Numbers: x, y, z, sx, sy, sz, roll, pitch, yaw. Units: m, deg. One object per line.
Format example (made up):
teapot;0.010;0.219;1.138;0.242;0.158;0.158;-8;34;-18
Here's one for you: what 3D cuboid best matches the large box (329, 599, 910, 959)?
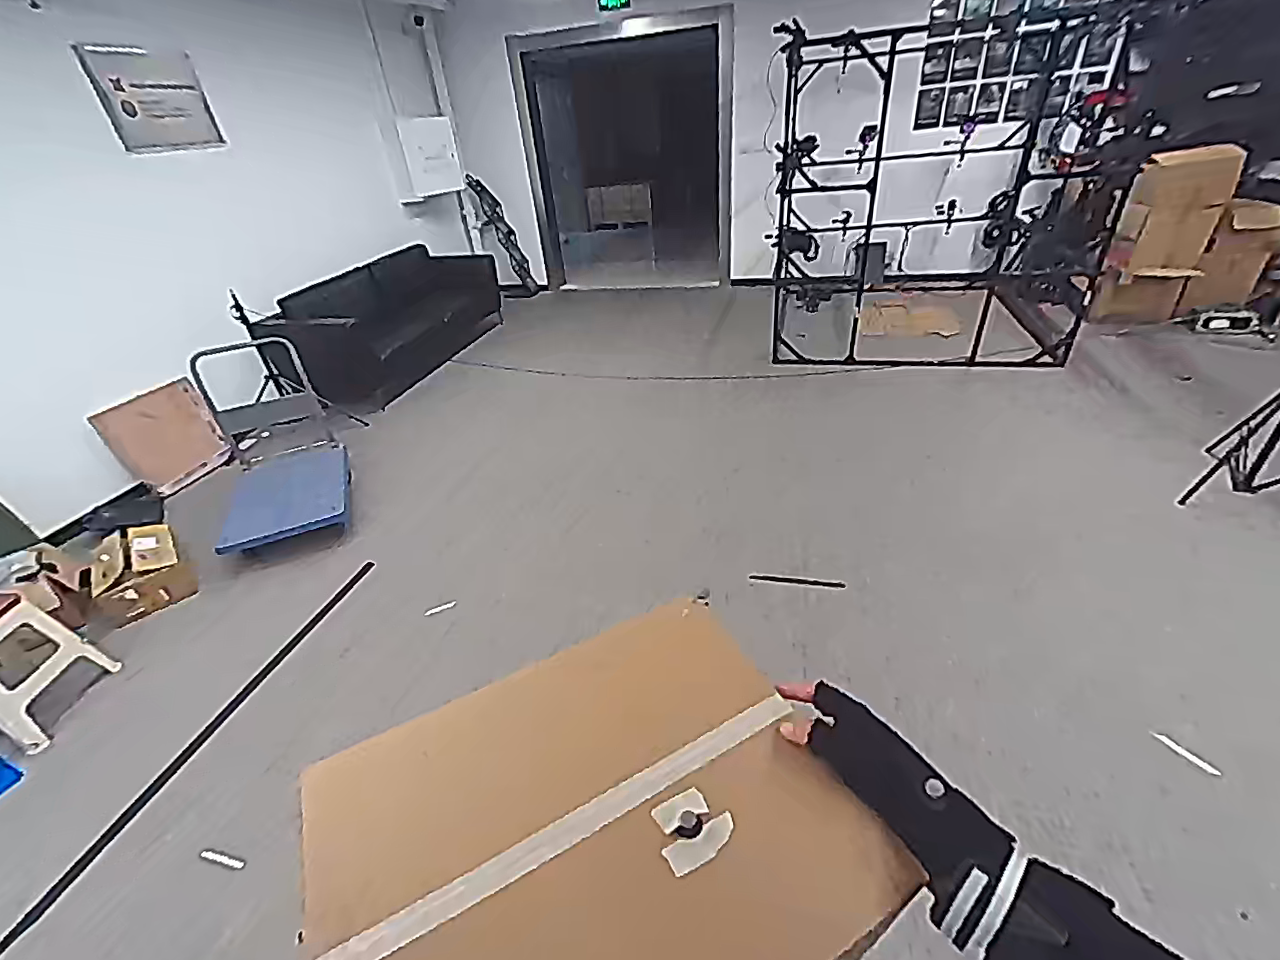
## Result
large box;-0.030;0.394;0.536;0.408;0.320;0.320;-18;40;-22
